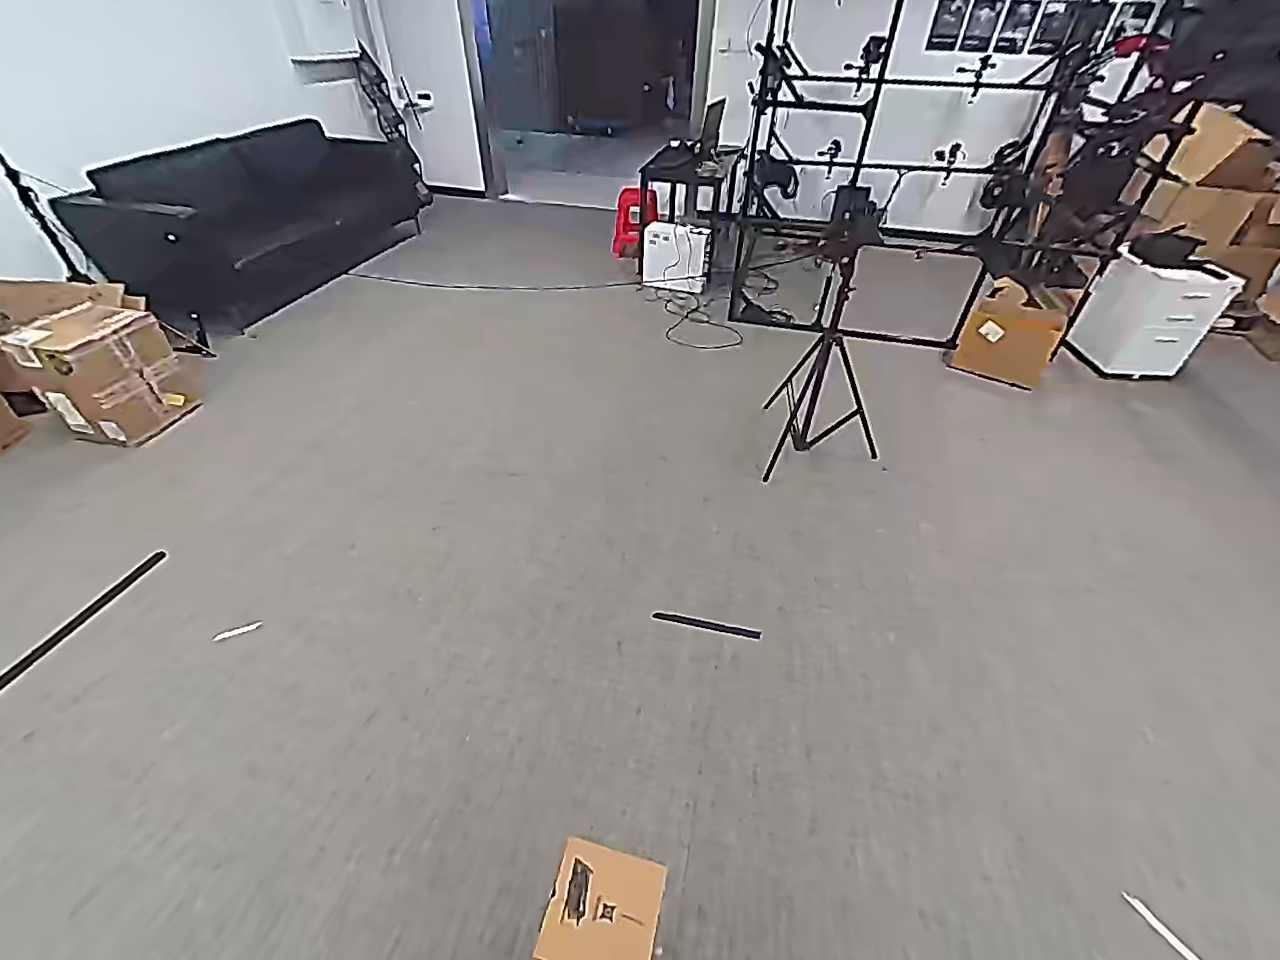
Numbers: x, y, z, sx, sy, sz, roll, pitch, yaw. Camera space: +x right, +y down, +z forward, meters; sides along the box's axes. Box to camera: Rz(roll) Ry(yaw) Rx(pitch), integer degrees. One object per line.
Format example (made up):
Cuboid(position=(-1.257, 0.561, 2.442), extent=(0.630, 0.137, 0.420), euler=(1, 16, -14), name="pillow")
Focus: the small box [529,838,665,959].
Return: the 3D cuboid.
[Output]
Cuboid(position=(-0.066, 0.736, 0.894), extent=(0.179, 0.176, 0.168), euler=(12, 40, 10), name="small box")
